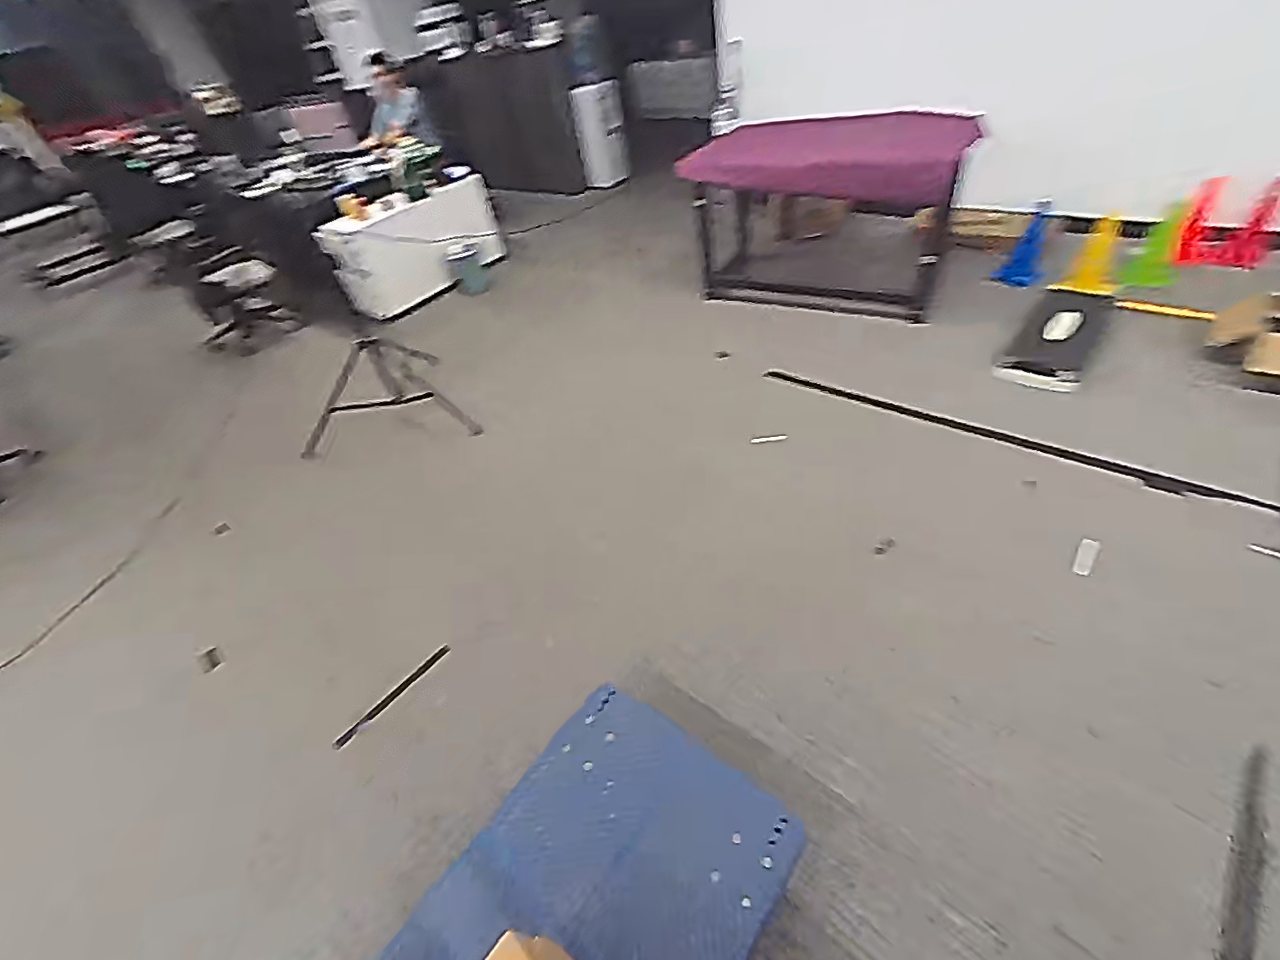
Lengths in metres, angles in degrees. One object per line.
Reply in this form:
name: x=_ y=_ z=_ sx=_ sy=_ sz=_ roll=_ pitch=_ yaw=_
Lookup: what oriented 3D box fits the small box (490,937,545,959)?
small box: x=-0.168 y=0.805 z=0.760 sx=0.179 sy=0.176 sz=0.168 roll=26 pitch=55 yaw=32
